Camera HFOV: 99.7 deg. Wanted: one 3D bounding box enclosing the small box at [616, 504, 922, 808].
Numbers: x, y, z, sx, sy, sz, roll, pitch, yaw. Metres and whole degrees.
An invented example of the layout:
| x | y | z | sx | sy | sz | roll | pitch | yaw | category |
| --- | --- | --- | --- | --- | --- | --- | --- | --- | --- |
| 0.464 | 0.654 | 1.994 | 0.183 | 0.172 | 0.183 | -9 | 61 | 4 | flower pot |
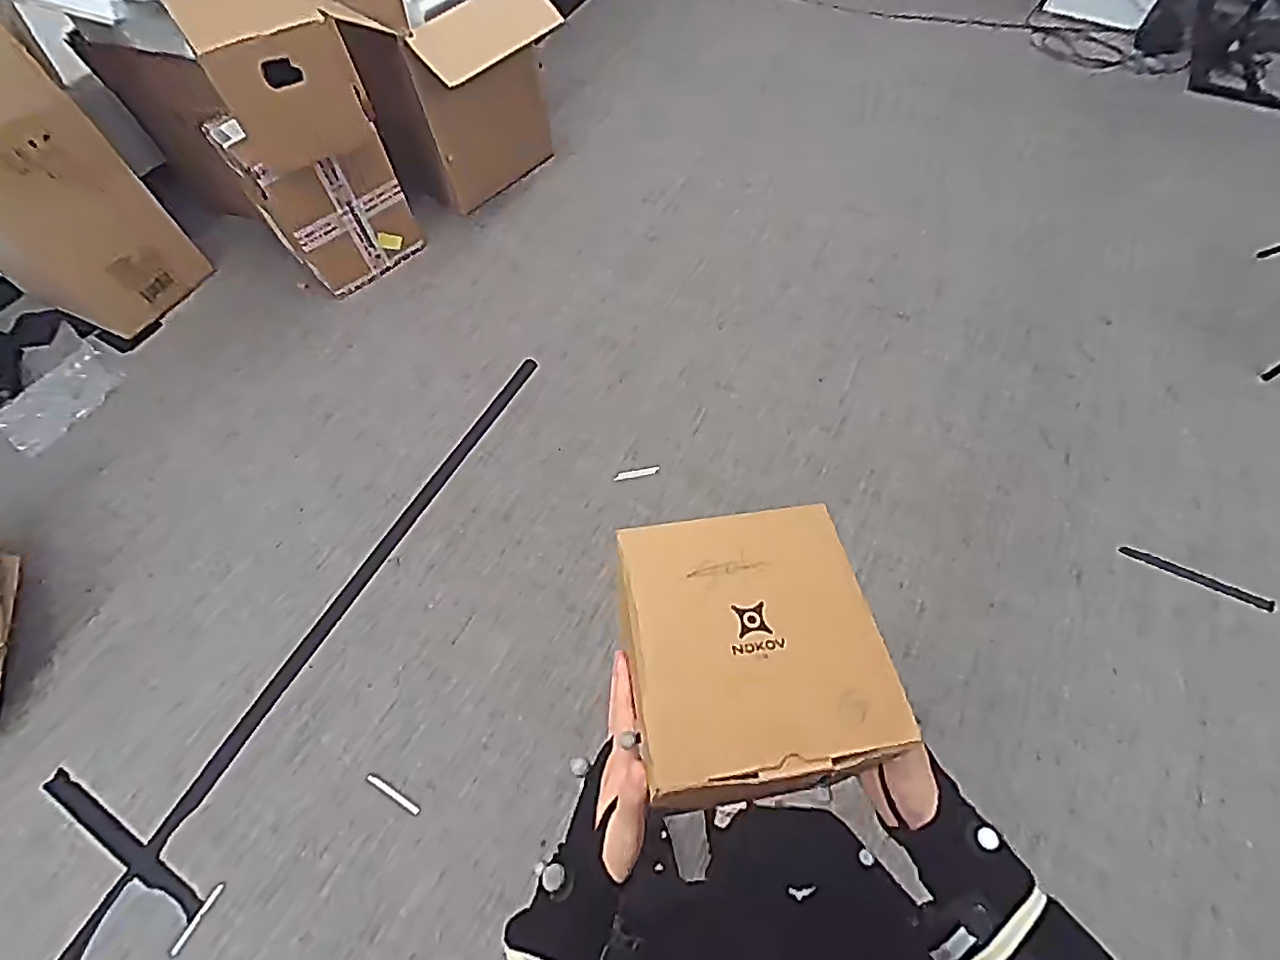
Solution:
| x | y | z | sx | sy | sz | roll | pitch | yaw | category |
| --- | --- | --- | --- | --- | --- | --- | --- | --- | --- |
| 0.074 | 0.144 | 0.425 | 0.168 | 0.176 | 0.179 | -6 | 53 | -7 | small box |
